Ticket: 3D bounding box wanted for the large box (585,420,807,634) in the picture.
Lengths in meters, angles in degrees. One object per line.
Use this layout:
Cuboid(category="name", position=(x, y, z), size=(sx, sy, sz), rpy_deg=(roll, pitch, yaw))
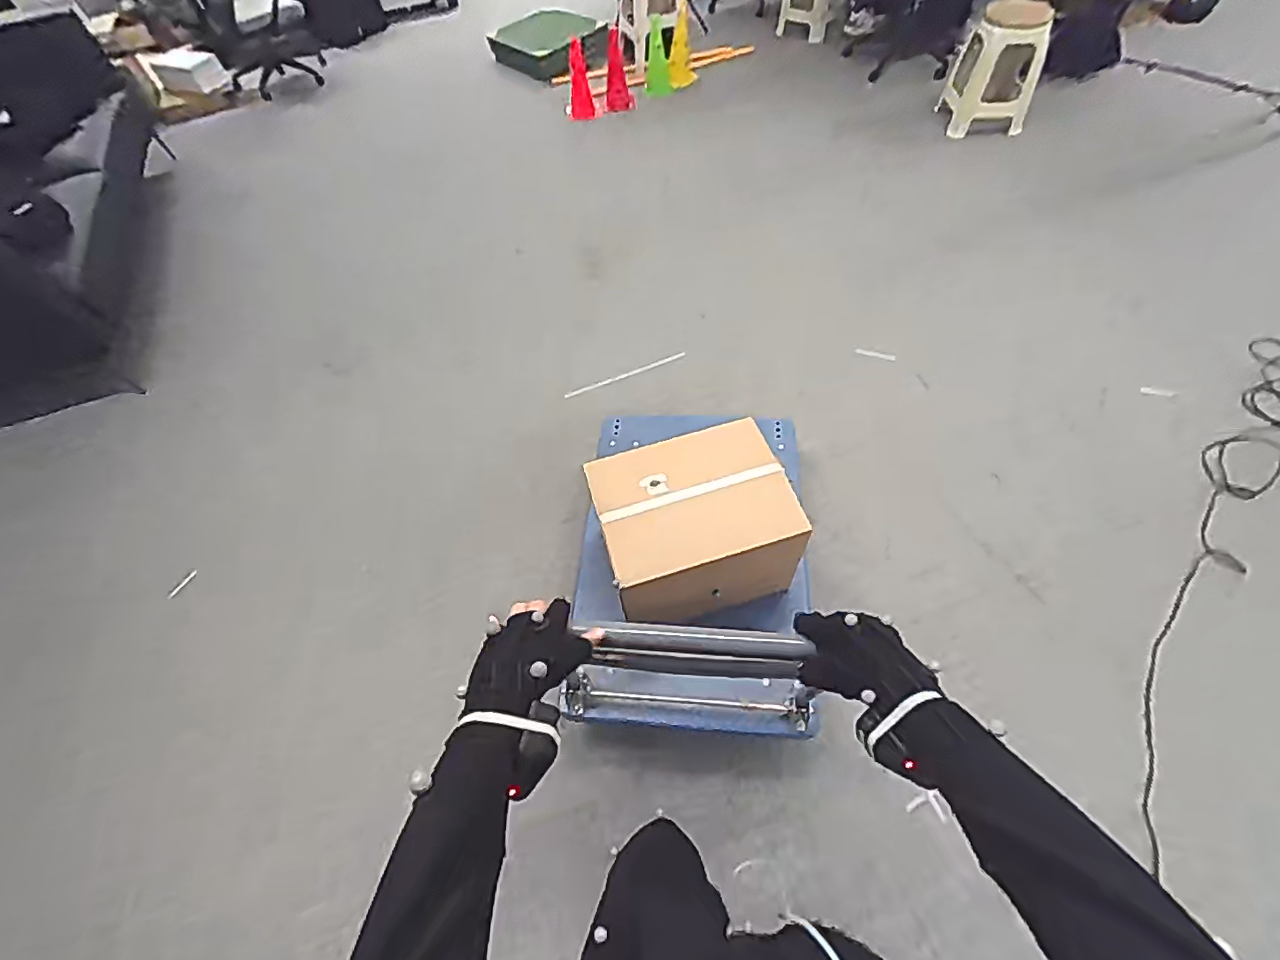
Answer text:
Cuboid(category="large box", position=(0.123, 0.119, 1.277), size=(0.408, 0.320, 0.320), rpy_deg=(-18, 56, -5))
